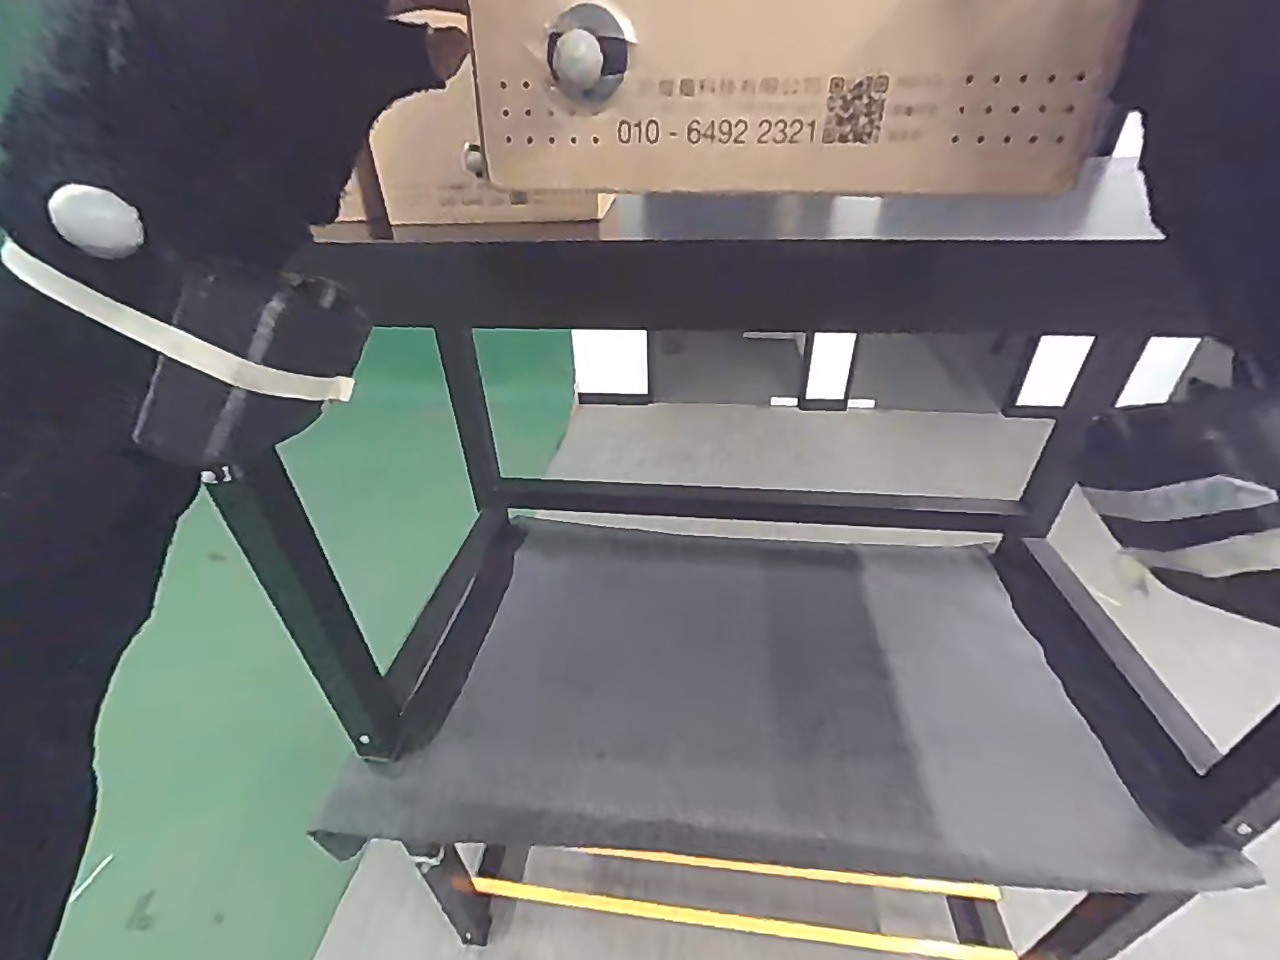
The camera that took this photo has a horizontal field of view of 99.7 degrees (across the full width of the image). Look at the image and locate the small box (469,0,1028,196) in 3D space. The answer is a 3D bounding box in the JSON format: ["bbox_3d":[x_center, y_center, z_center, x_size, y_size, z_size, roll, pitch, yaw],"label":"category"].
[{"bbox_3d":[0.037,-0.207,0.205,0.168,0.176,0.179,4,27,6],"label":"small box"}]

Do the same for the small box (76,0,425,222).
[{"bbox_3d":[-0.310,-0.330,0.479,0.168,0.176,0.179,0,33,0],"label":"small box"}]
